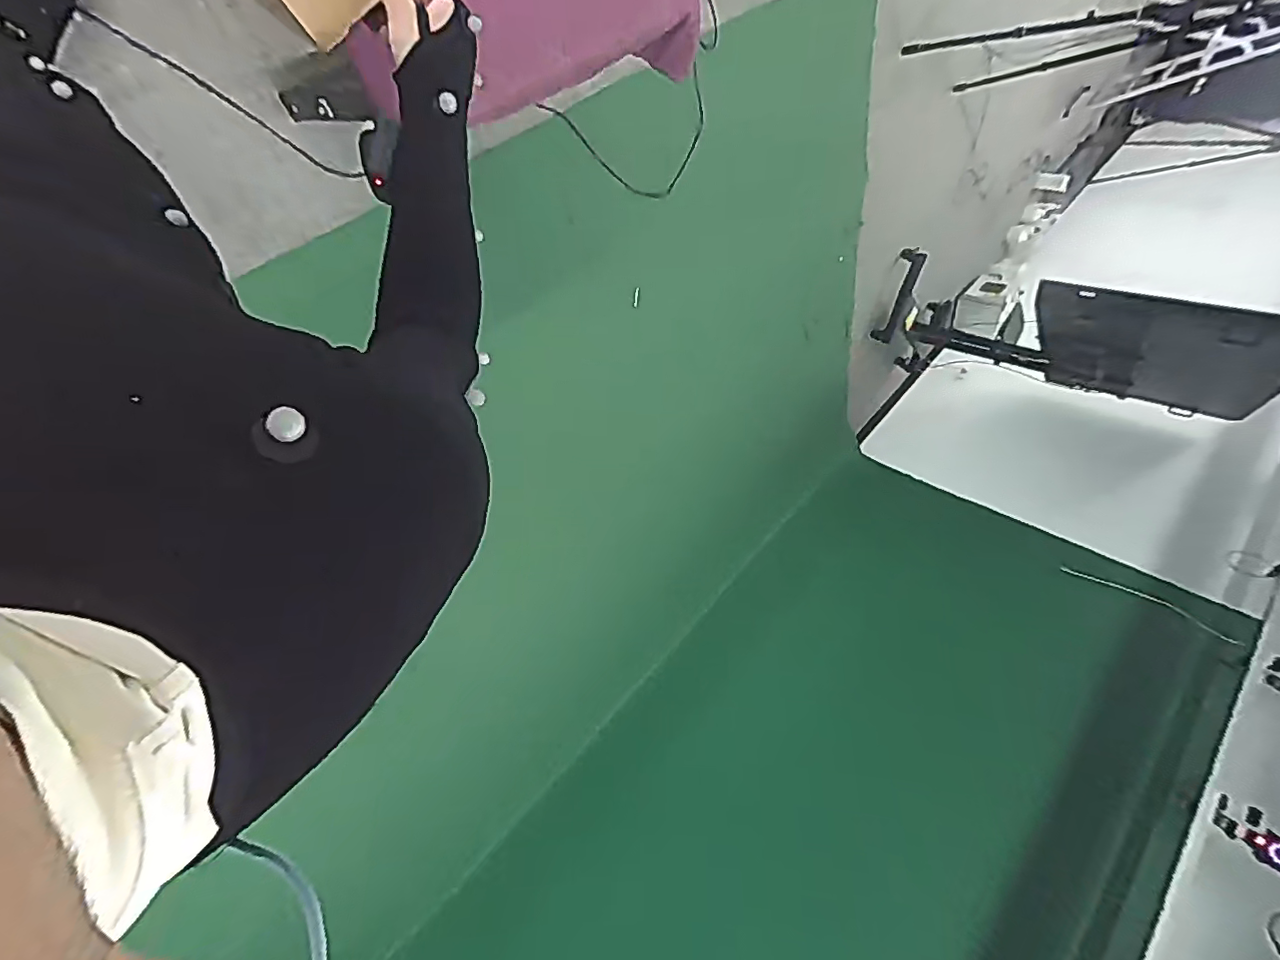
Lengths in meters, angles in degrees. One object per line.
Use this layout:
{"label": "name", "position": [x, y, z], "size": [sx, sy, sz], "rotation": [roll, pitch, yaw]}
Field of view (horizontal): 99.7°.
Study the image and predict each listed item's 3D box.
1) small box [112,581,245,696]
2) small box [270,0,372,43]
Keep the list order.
{"label": "small box", "position": [-1.094, 0.366, 1.280], "size": [0.168, 0.176, 0.179], "rotation": [-41, 138, -22]}
{"label": "small box", "position": [-0.315, -0.544, 0.468], "size": [0.168, 0.176, 0.179], "rotation": [-45, 153, -2]}
